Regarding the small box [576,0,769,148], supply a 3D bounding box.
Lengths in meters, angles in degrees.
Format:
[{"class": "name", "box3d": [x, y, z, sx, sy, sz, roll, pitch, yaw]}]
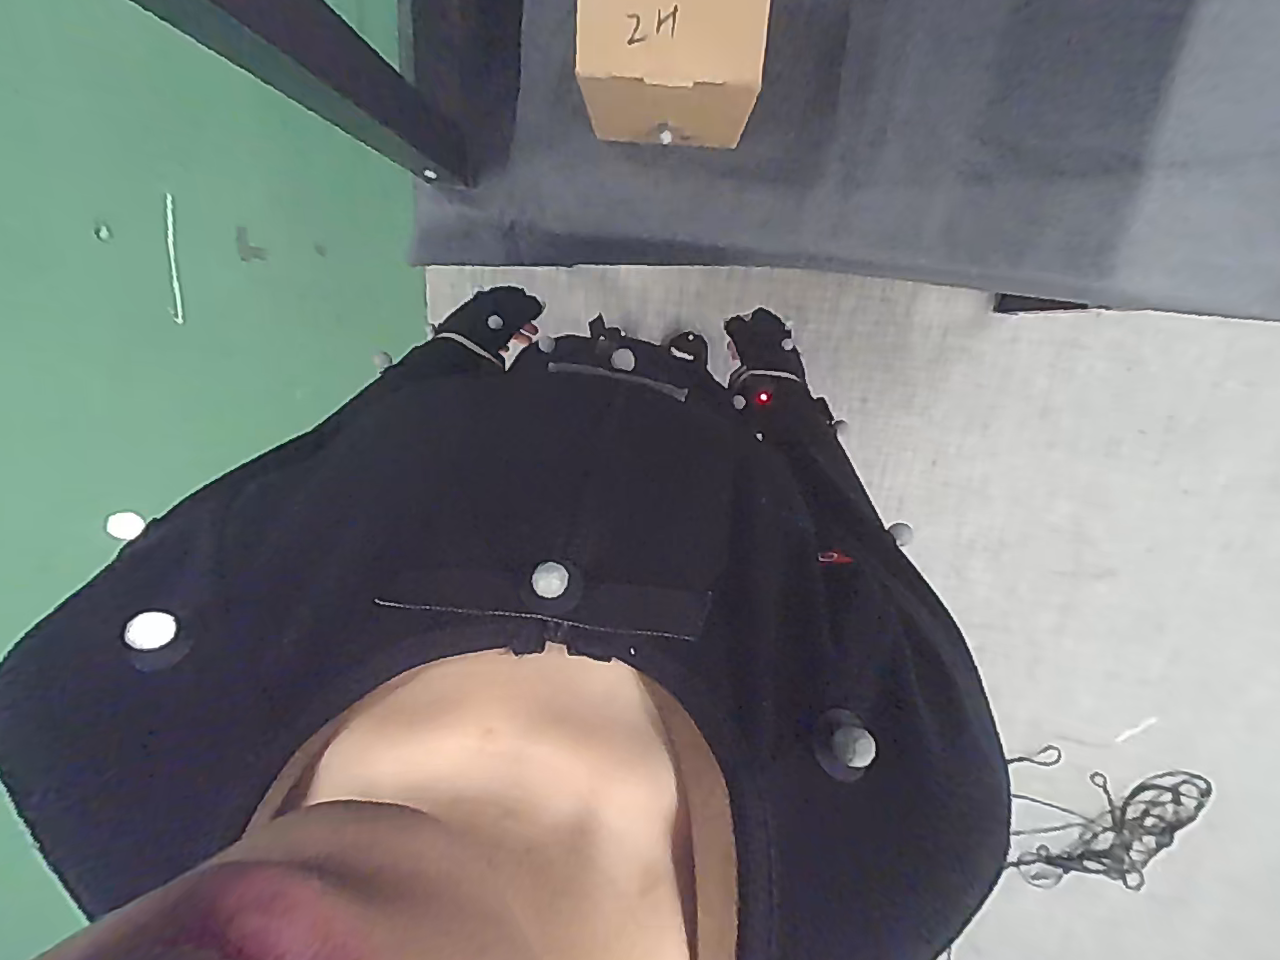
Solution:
[{"class": "small box", "box3d": [0.033, -0.457, 0.532, 0.168, 0.176, 0.179, 4, 105, 1]}]
